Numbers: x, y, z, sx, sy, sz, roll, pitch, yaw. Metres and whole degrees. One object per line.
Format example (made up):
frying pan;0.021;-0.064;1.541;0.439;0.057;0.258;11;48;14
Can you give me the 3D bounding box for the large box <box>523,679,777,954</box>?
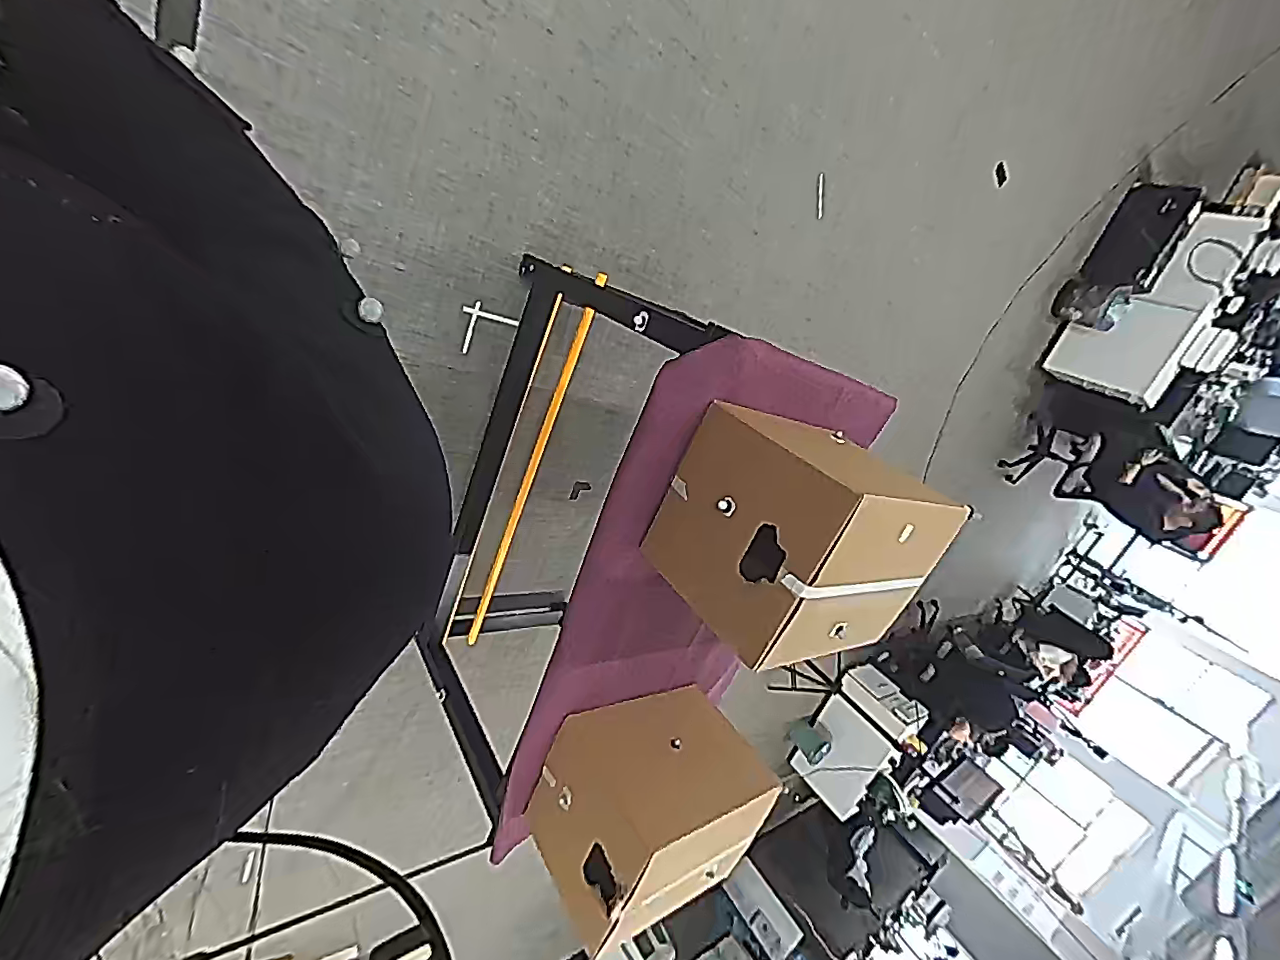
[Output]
large box;0.015;0.692;1.191;0.408;0.320;0.320;5;116;-43
